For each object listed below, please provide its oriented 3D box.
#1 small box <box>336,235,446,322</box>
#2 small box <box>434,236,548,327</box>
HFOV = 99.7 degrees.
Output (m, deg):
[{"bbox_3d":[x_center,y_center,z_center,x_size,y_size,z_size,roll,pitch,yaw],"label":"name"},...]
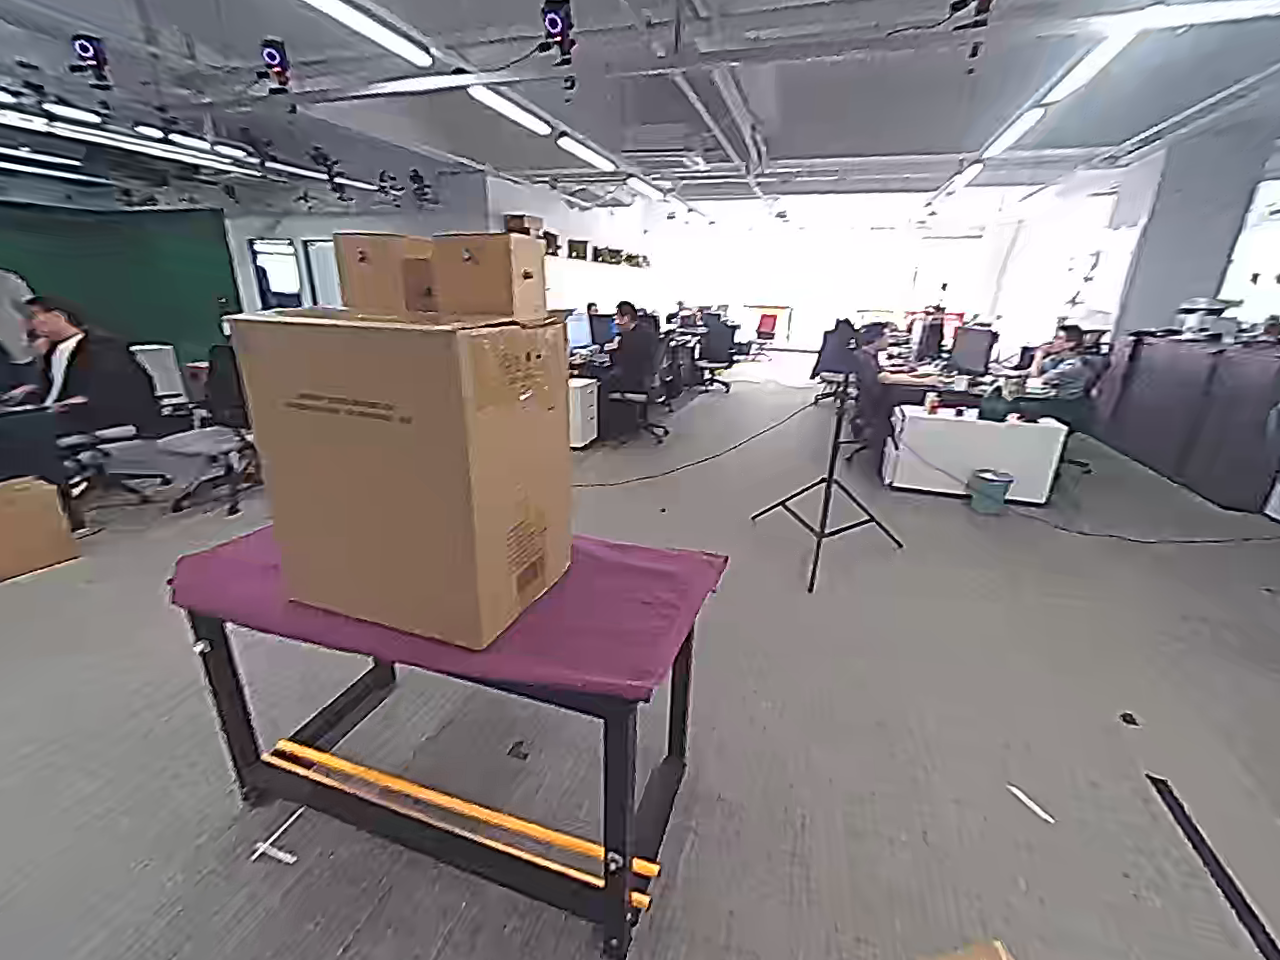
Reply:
[{"bbox_3d":[-0.540,-0.448,1.212,0.179,0.176,0.168,9,22,16],"label":"small box"},{"bbox_3d":[-0.305,-0.420,1.150,0.179,0.176,0.168,4,19,14],"label":"small box"}]
